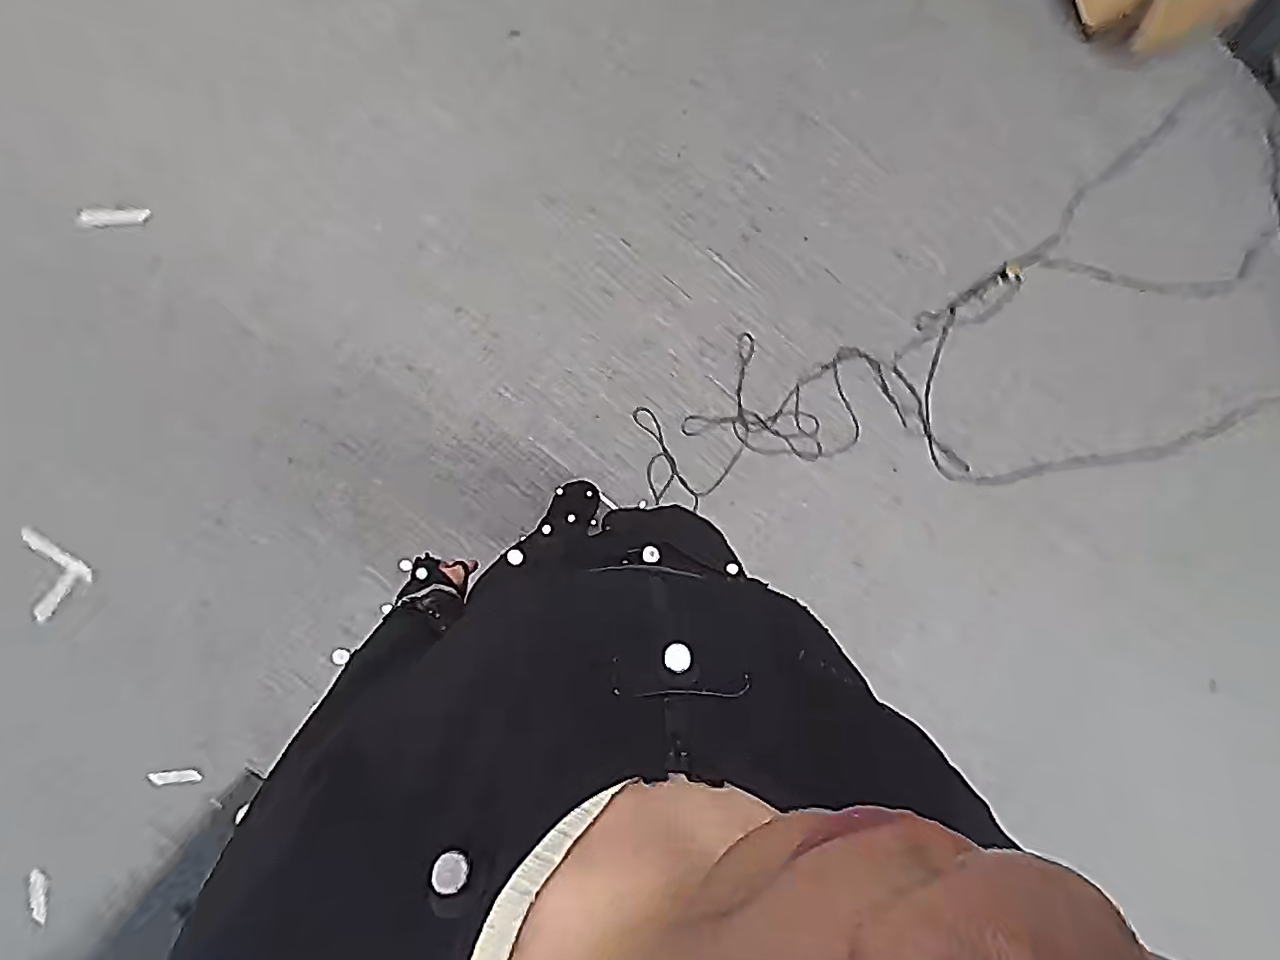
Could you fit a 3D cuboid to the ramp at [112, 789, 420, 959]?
[{"bbox_3d":[-1.019,1.264,1.197,0.509,0.206,0.991,37,86,-4],"label":"ramp"}]
